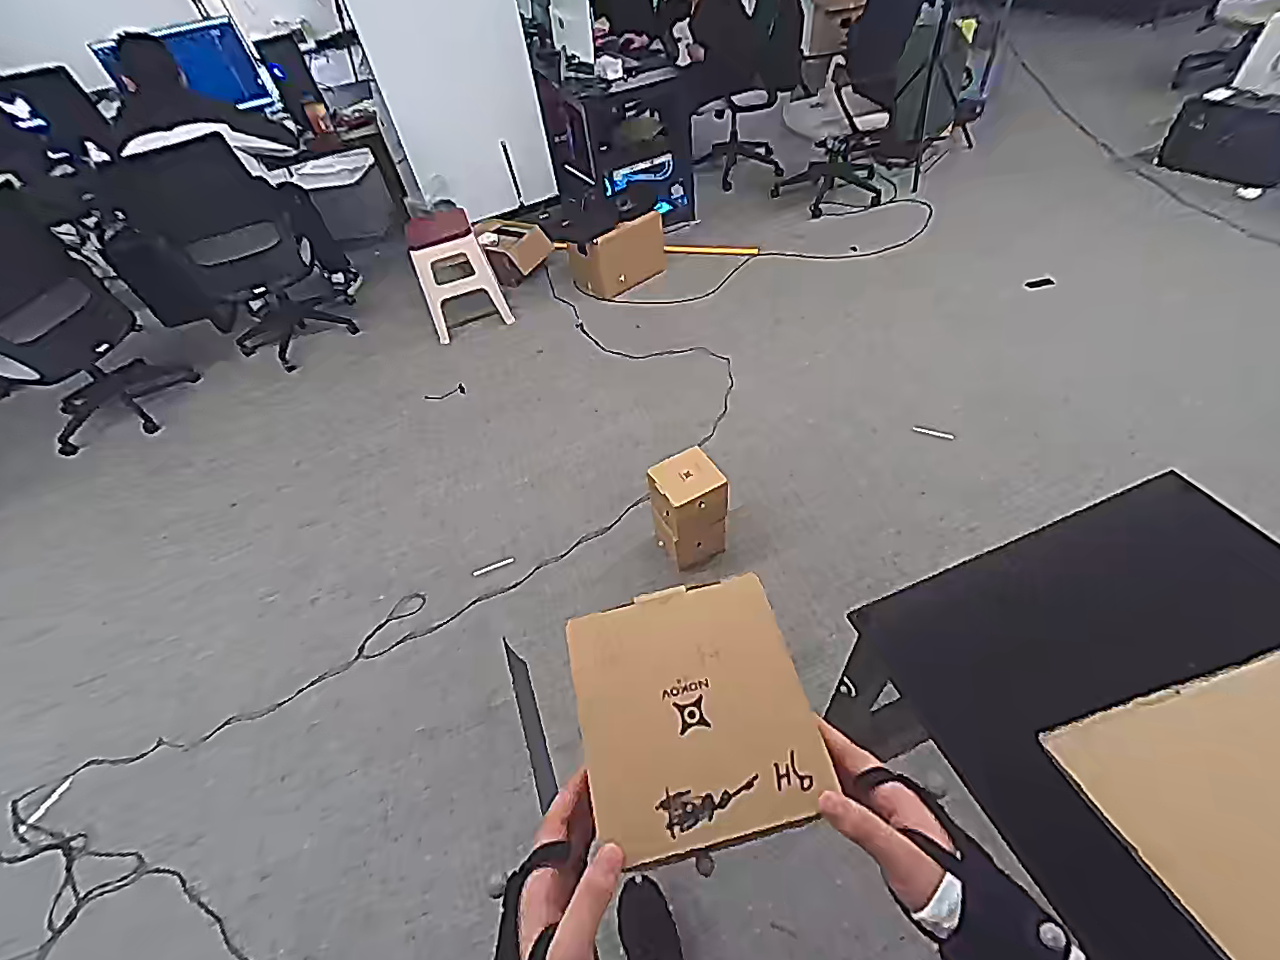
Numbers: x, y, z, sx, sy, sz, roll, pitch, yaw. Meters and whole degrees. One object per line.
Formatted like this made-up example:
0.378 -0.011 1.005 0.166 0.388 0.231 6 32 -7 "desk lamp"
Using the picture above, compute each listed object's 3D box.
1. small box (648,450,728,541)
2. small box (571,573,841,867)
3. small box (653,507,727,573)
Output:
0.144 0.051 1.587 0.179 0.176 0.168 -25 51 -14 "small box"
0.046 0.210 0.468 0.168 0.176 0.179 -15 53 -2 "small box"
0.158 0.160 1.707 0.179 0.176 0.168 -24 50 -11 "small box"
